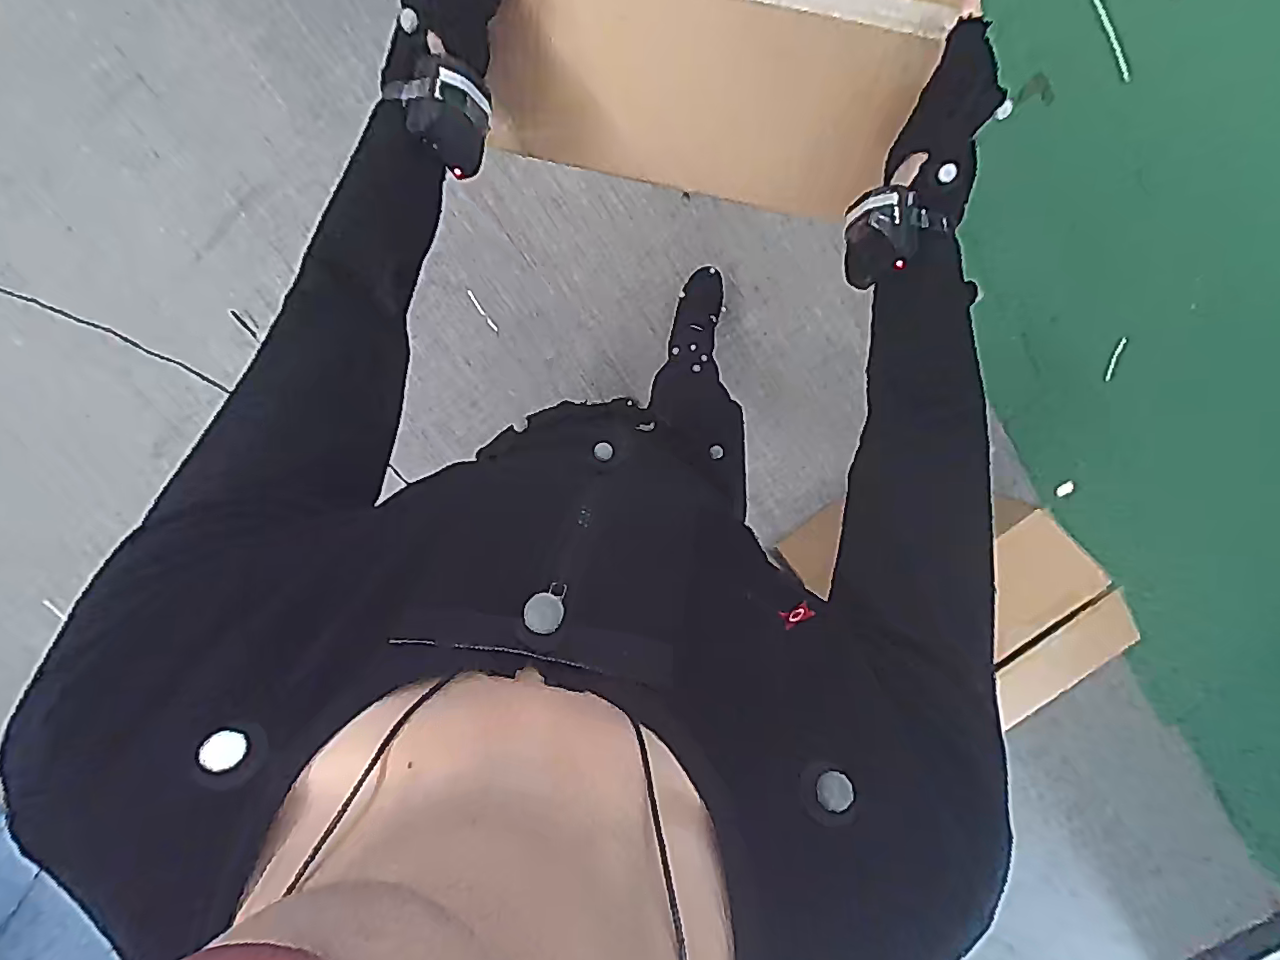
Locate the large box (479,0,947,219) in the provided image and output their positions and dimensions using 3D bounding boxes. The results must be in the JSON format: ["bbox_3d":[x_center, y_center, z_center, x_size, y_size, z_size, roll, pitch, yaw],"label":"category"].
[{"bbox_3d":[0.079,-0.493,0.587,0.408,0.320,0.320,13,118,2],"label":"large box"}]
